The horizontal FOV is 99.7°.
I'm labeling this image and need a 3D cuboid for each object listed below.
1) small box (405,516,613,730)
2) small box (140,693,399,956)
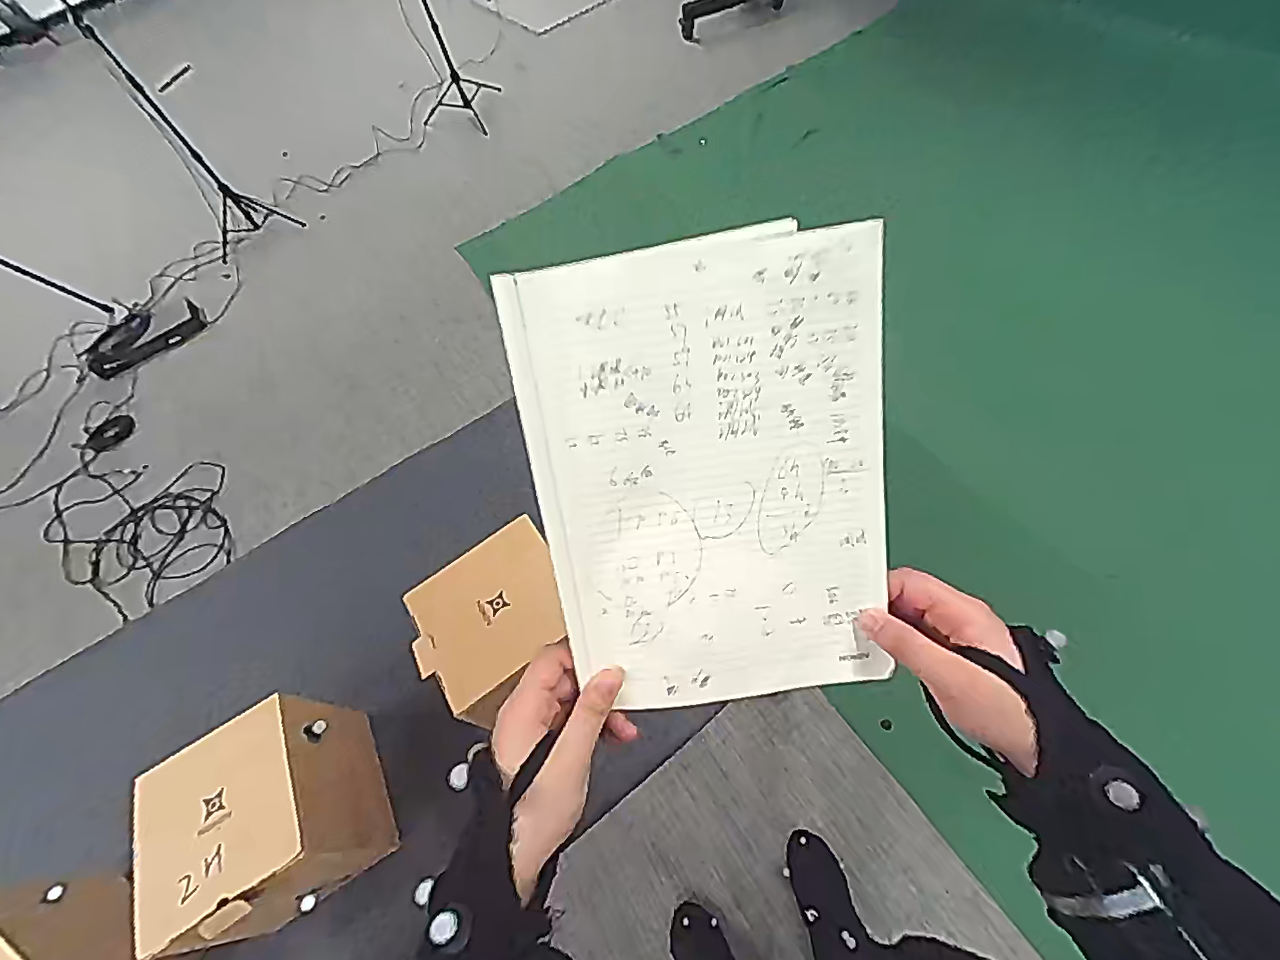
[{"bbox_3d":[-0.149,0.183,0.675,0.179,0.176,0.168,-36,58,-9],"label":"small box"},{"bbox_3d":[-0.409,0.377,0.614,0.168,0.176,0.179,-32,58,-7],"label":"small box"}]
